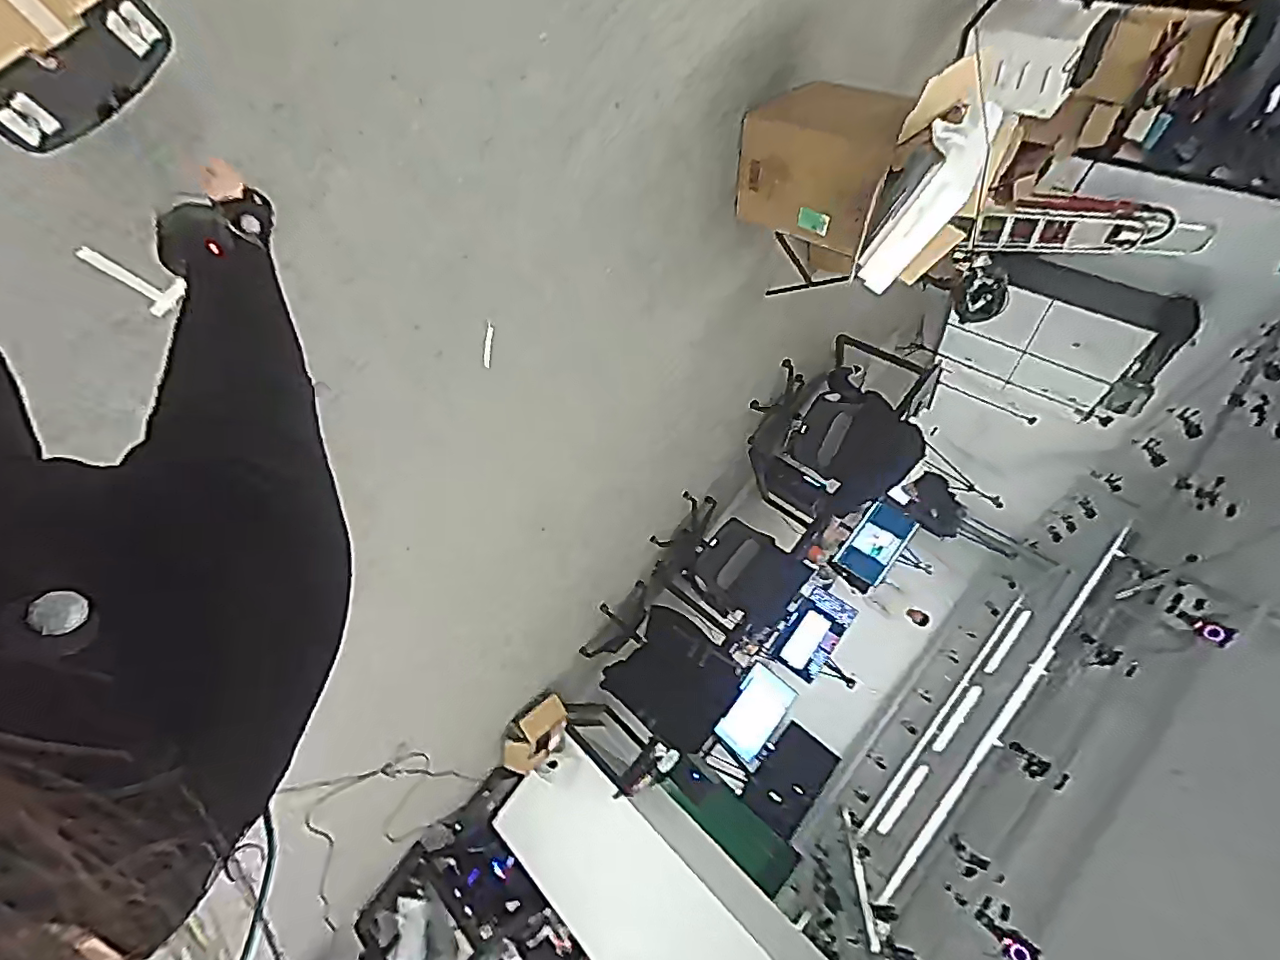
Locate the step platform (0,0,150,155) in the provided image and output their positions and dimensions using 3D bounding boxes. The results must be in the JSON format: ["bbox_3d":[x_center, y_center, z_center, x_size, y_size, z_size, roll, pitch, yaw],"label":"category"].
[{"bbox_3d":[-0.938,-0.725,0.547,0.286,0.204,0.684,-49,150,-13],"label":"step platform"}]
